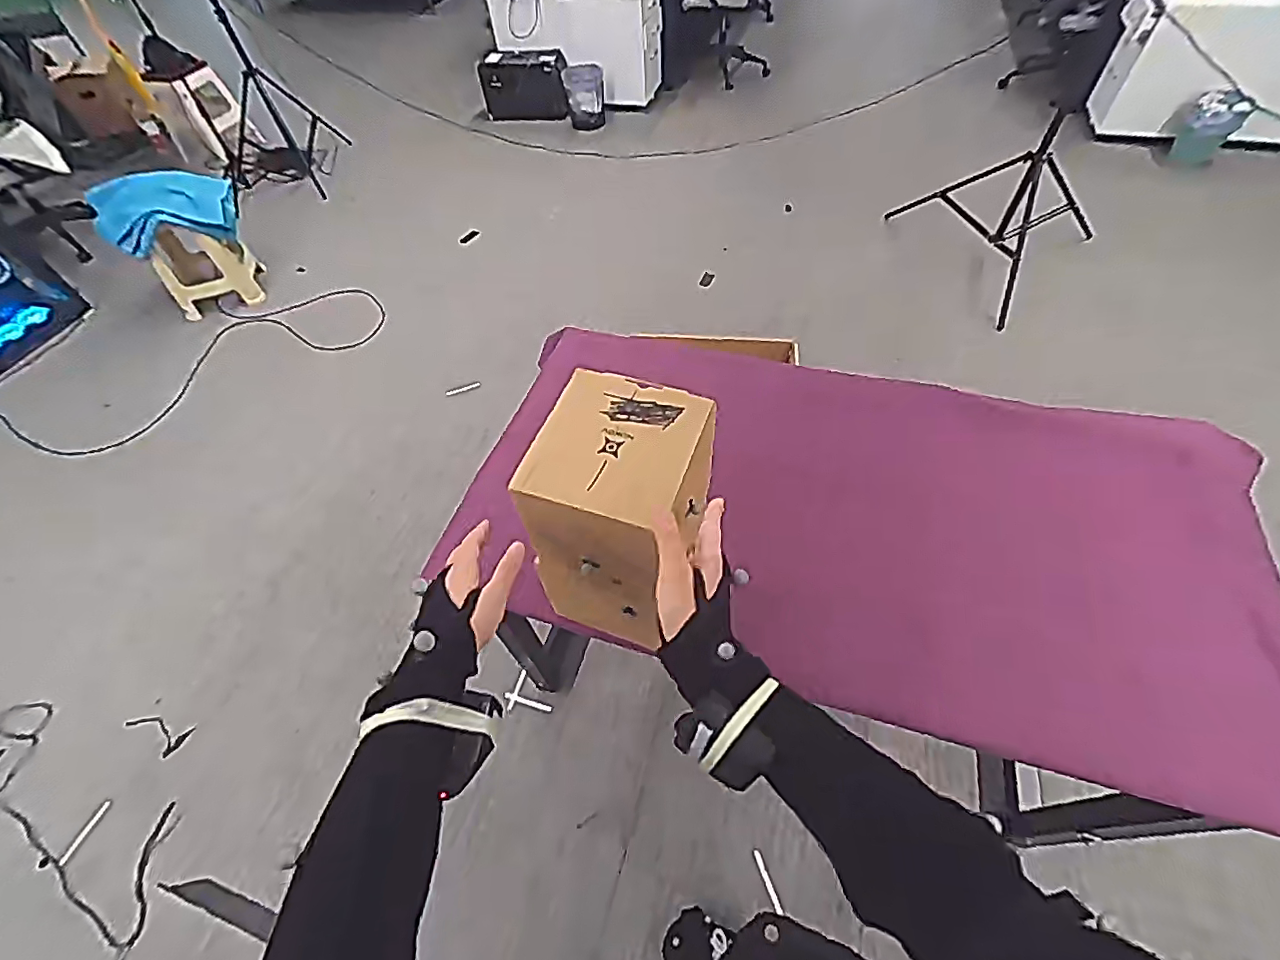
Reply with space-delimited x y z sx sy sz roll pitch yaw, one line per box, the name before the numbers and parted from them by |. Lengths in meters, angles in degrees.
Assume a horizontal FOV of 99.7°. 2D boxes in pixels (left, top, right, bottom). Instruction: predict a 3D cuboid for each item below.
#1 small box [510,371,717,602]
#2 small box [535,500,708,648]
small box | -0.020 0.010 0.618 0.168 0.176 0.179 16 58 15
small box | -0.016 0.112 0.747 0.179 0.176 0.168 16 56 15
